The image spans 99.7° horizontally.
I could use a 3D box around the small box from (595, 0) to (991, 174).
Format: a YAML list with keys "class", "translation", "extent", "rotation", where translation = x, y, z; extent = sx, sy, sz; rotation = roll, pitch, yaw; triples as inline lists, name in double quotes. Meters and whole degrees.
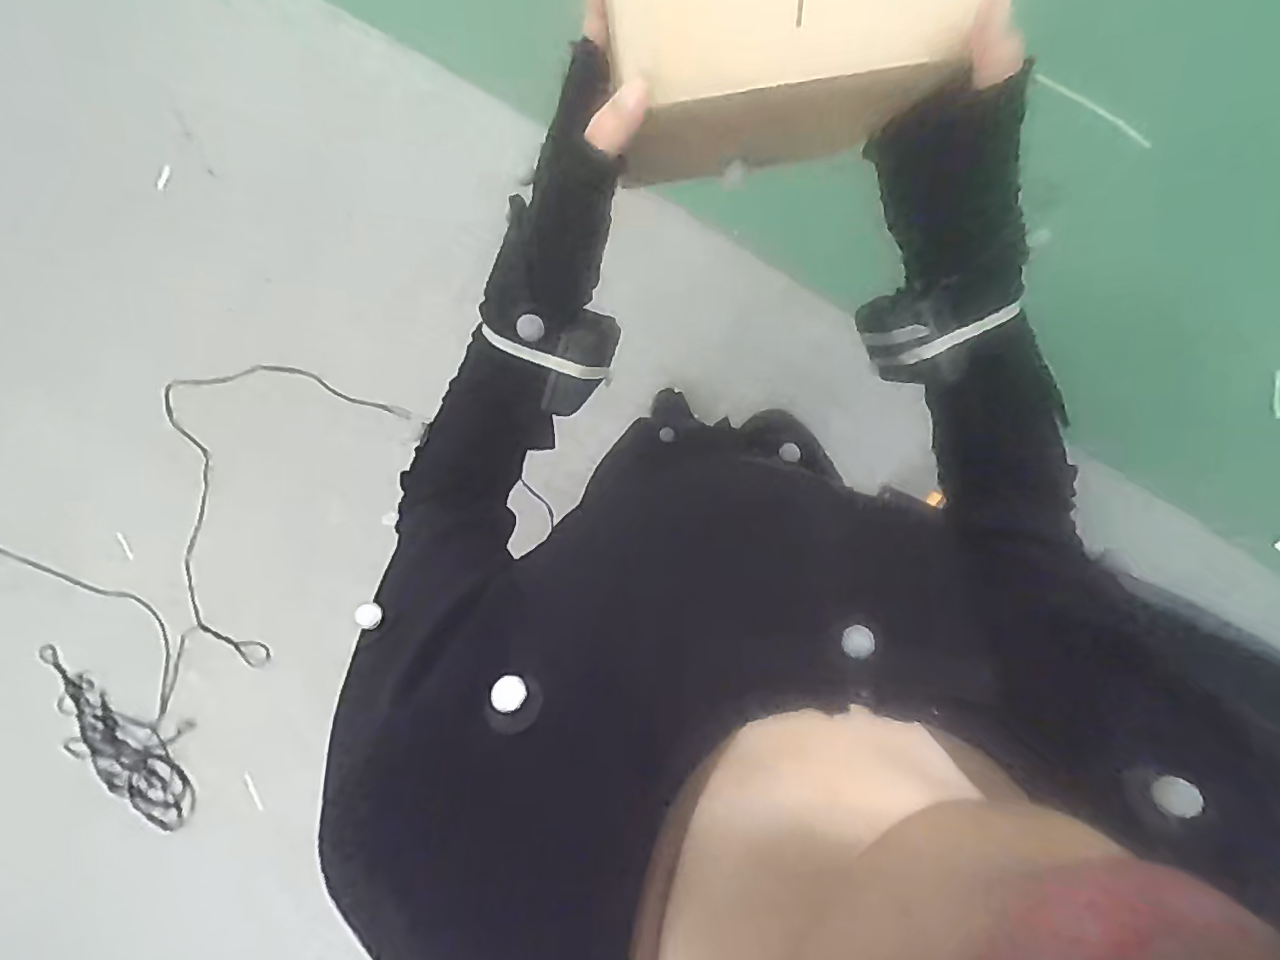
- class: "small box"
  translation: [0.057, -0.293, 0.291]
  extent: [0.168, 0.176, 0.179]
  rotation: [-9, 107, 0]
